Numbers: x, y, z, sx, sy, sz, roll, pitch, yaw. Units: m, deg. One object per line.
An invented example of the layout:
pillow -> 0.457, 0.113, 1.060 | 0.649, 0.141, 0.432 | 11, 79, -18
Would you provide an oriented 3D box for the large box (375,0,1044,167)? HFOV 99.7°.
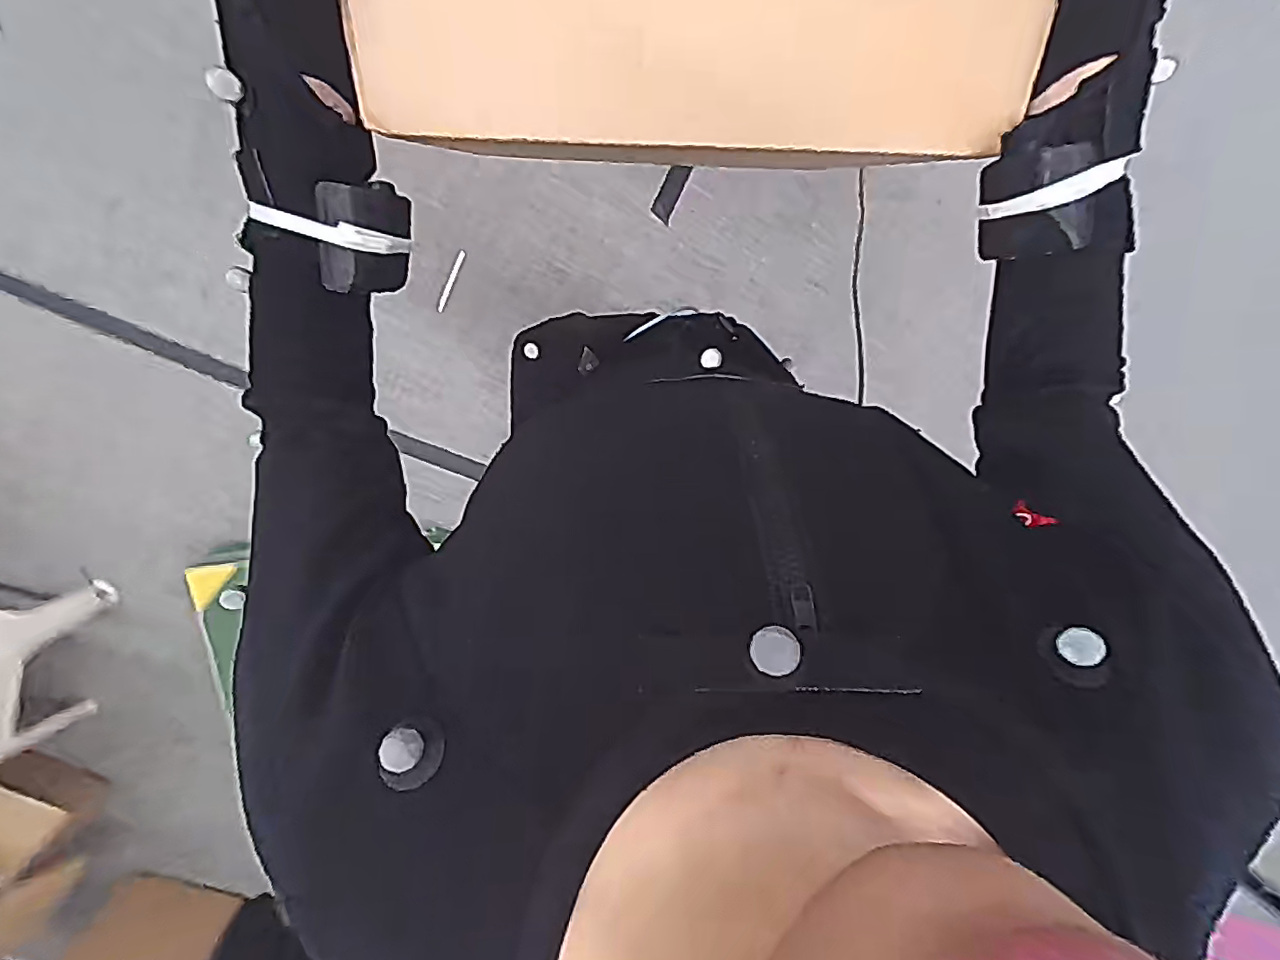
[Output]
large box -> 0.038, -0.424, 0.407 | 0.408, 0.320, 0.320 | 1, 120, -5
